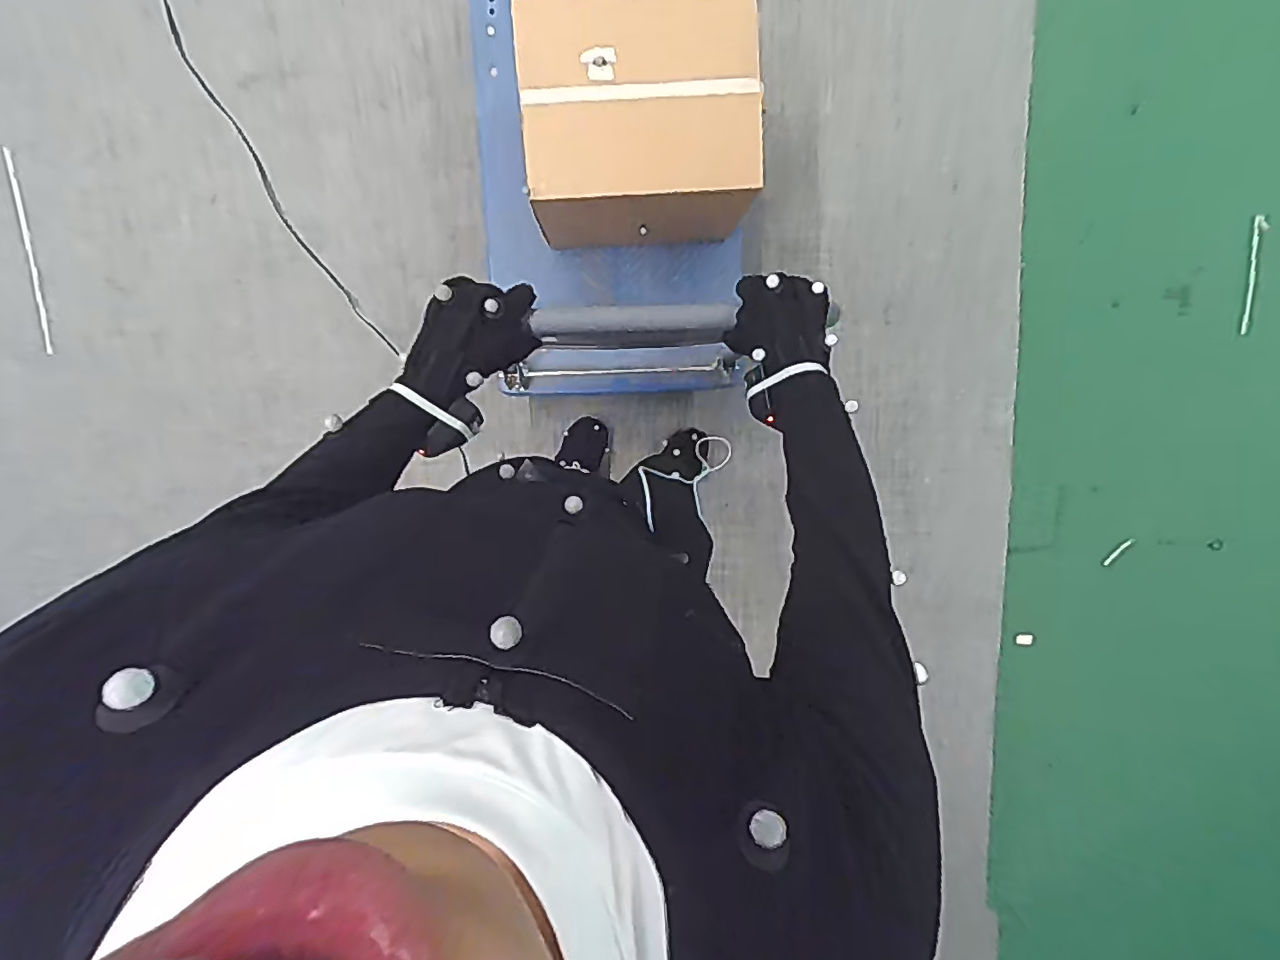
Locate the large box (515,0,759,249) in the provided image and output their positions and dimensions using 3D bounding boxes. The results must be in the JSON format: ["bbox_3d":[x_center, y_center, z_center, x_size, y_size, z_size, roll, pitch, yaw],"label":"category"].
[{"bbox_3d":[-0.002,-0.663,1.062,0.408,0.320,0.320,-4,98,-1],"label":"large box"}]
